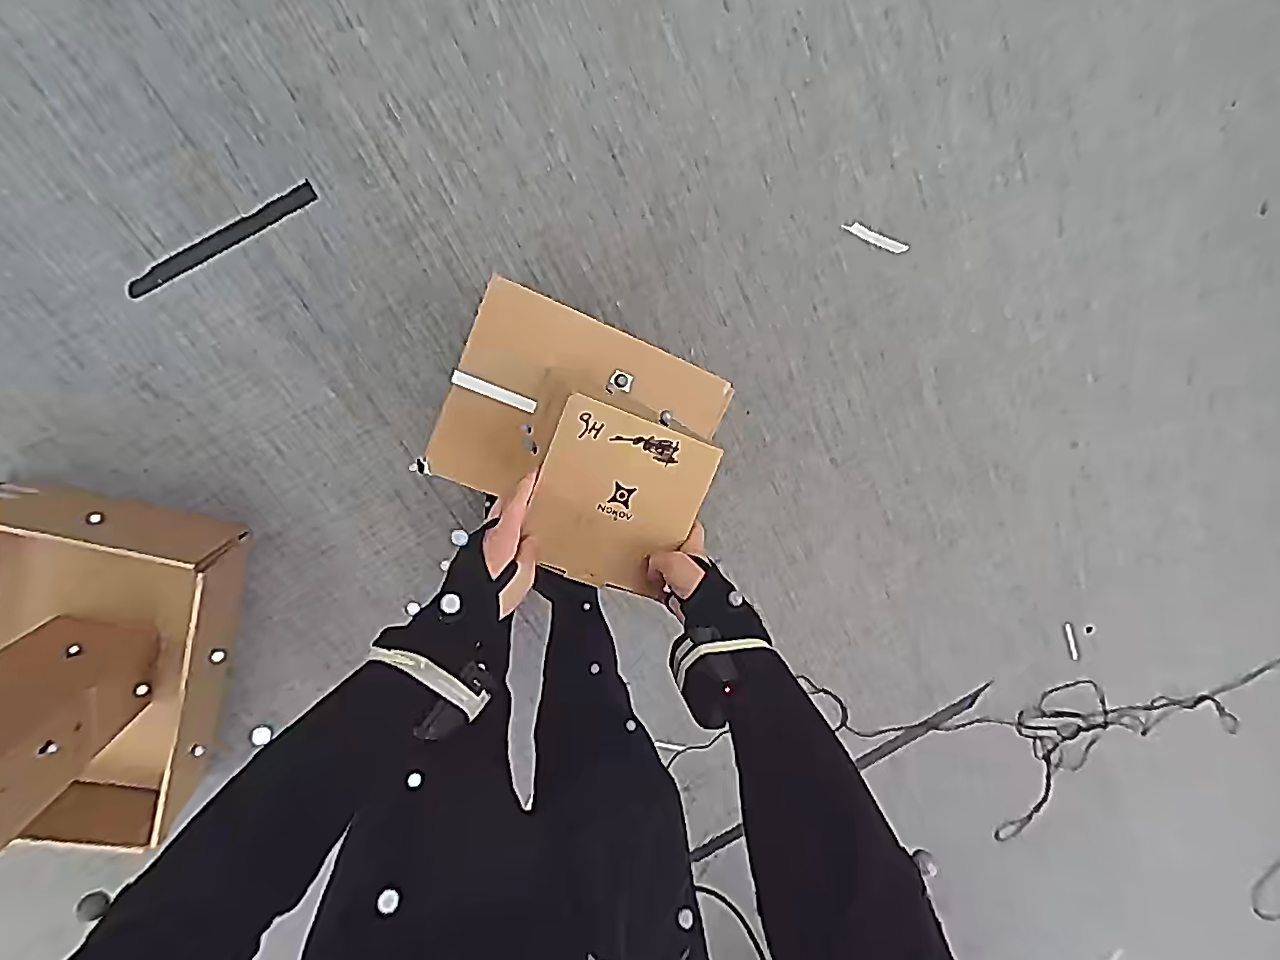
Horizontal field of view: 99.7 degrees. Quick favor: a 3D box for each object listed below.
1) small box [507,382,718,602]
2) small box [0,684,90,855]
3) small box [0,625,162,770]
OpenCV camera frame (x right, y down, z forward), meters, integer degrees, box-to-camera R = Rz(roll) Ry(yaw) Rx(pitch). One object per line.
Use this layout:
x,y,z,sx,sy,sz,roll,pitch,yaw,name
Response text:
-0.039,0.005,0.612,0.168,0.176,0.179,19,102,-16,small box
-1.000,0.432,0.823,0.179,0.176,0.168,11,102,-13,small box
-1.026,0.384,0.975,0.179,0.176,0.168,16,102,-16,small box
